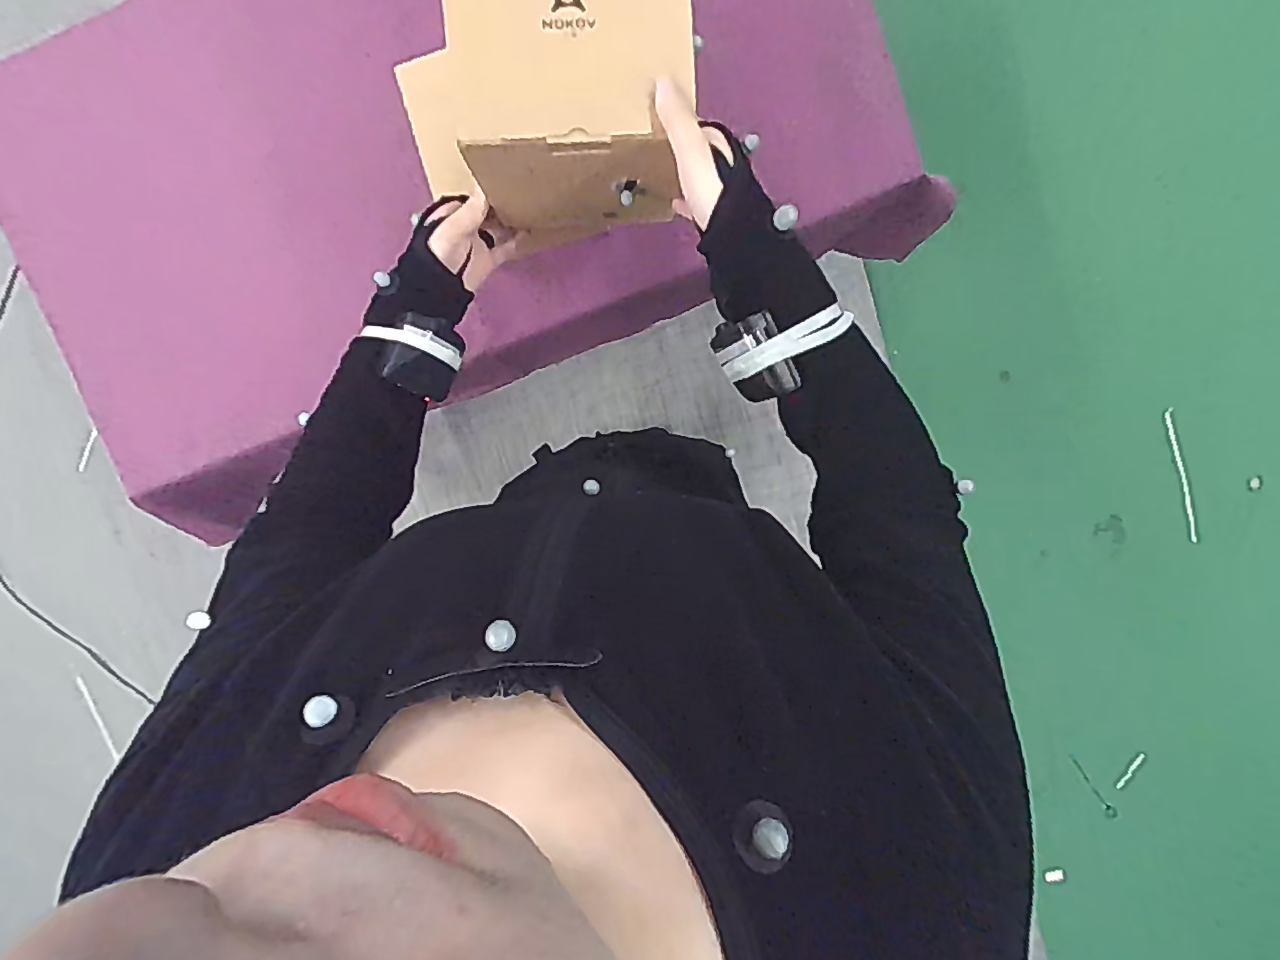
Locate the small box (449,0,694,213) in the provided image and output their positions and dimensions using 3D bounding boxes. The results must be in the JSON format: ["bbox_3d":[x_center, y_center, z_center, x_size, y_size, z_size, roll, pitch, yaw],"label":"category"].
[{"bbox_3d":[-0.048,-0.332,0.439,0.168,0.176,0.179,-3,97,-2],"label":"small box"}]

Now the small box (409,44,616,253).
[{"bbox_3d":[-0.137,-0.393,0.647,0.179,0.176,0.168,-14,96,5],"label":"small box"}]
